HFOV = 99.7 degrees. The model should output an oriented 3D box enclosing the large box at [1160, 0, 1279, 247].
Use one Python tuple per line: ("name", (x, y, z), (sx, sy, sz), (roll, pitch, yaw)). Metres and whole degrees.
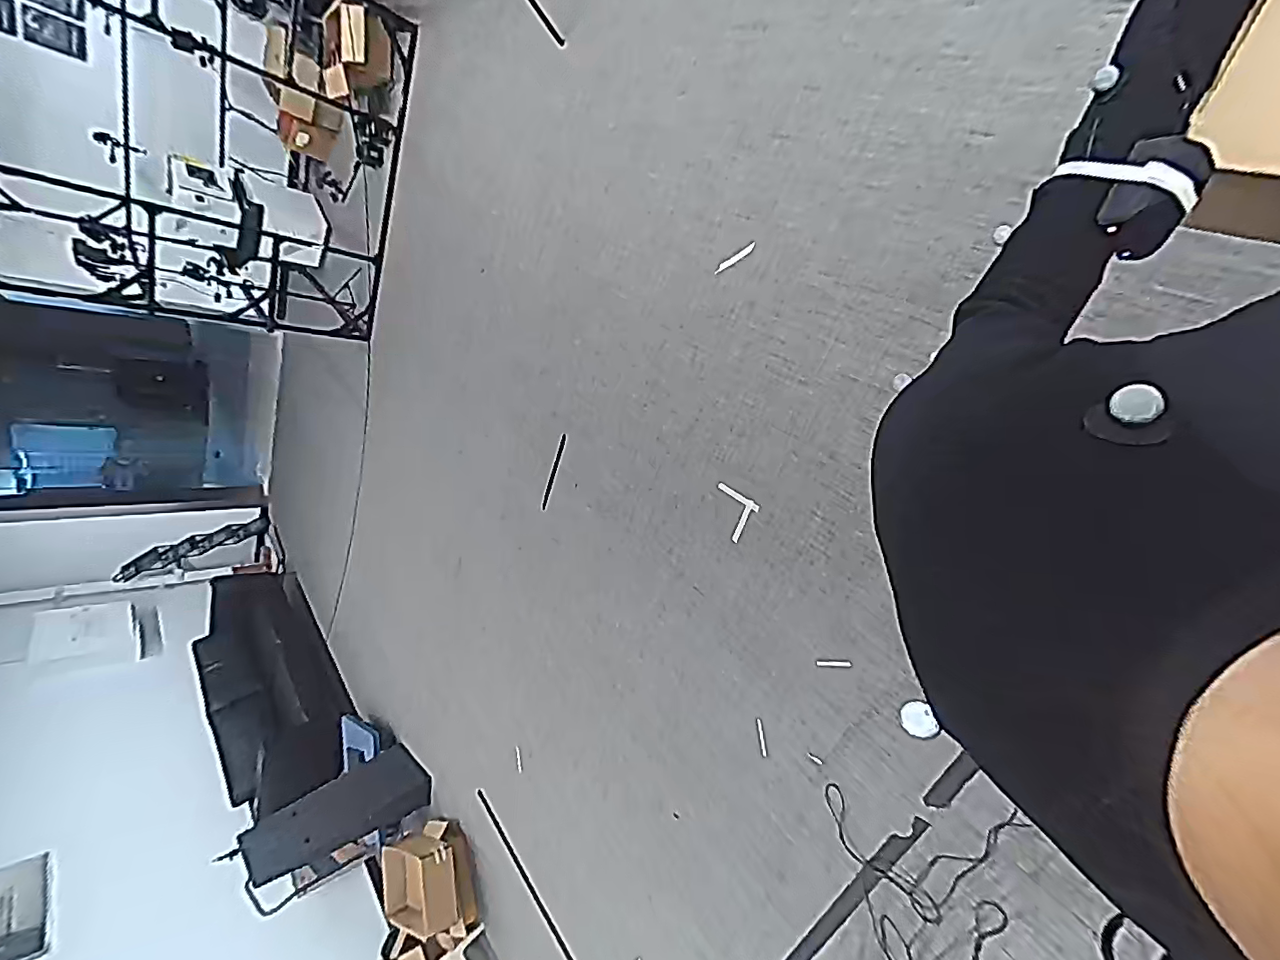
("large box", (0.668, -0.309, 0.344), (0.408, 0.320, 0.320), (33, 123, 33))
